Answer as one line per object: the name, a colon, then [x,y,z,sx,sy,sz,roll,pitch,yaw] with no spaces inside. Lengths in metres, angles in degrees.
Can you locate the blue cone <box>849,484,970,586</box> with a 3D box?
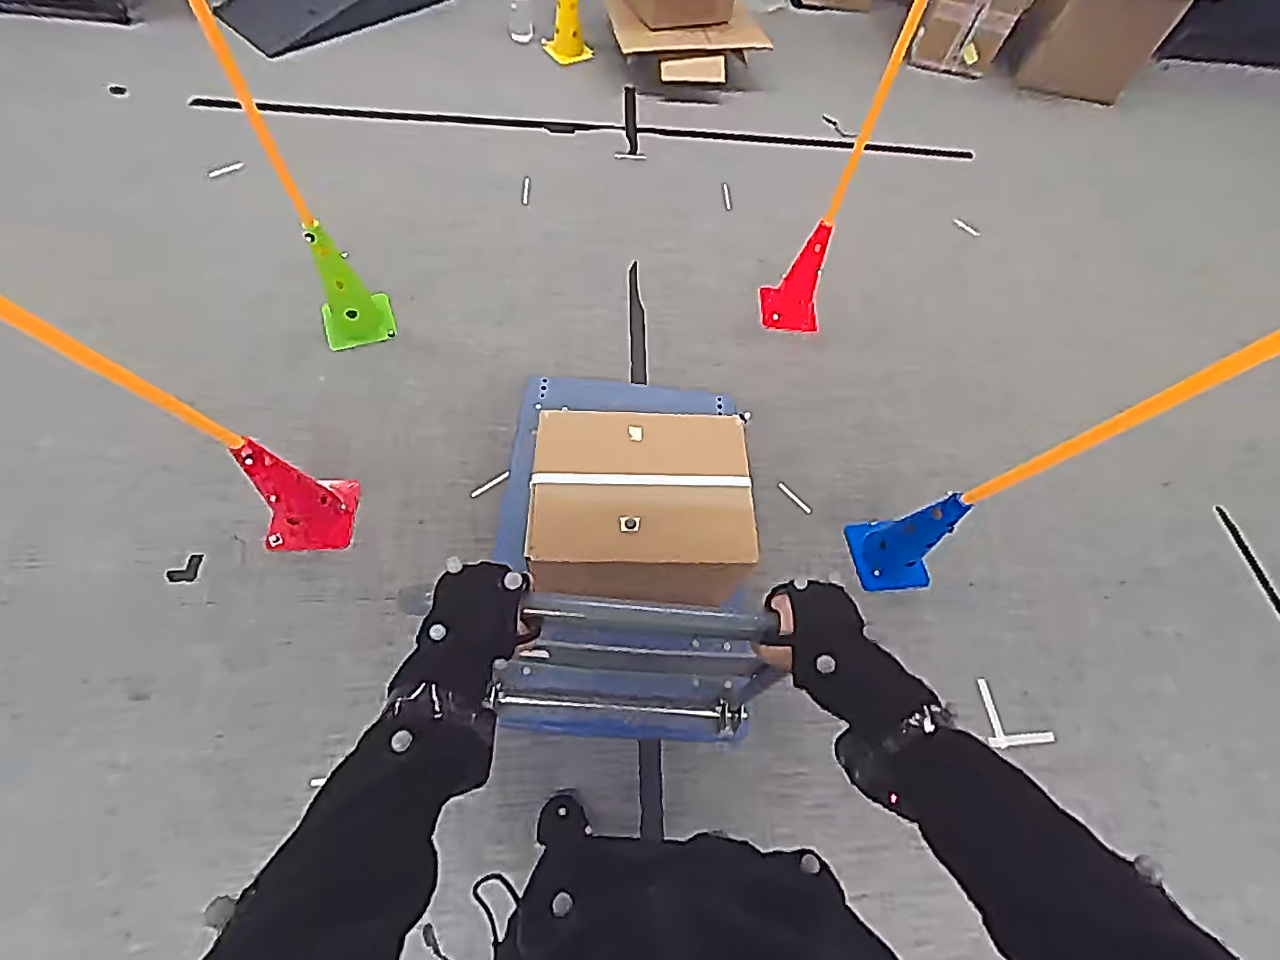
blue cone: [0.711,0.122,1.370,0.193,0.380,0.192,-3,62,-8]

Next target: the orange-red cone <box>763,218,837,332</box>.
orange-red cone: [0.551,-0.686,1.758,0.199,0.360,0.198,7,63,-4]
